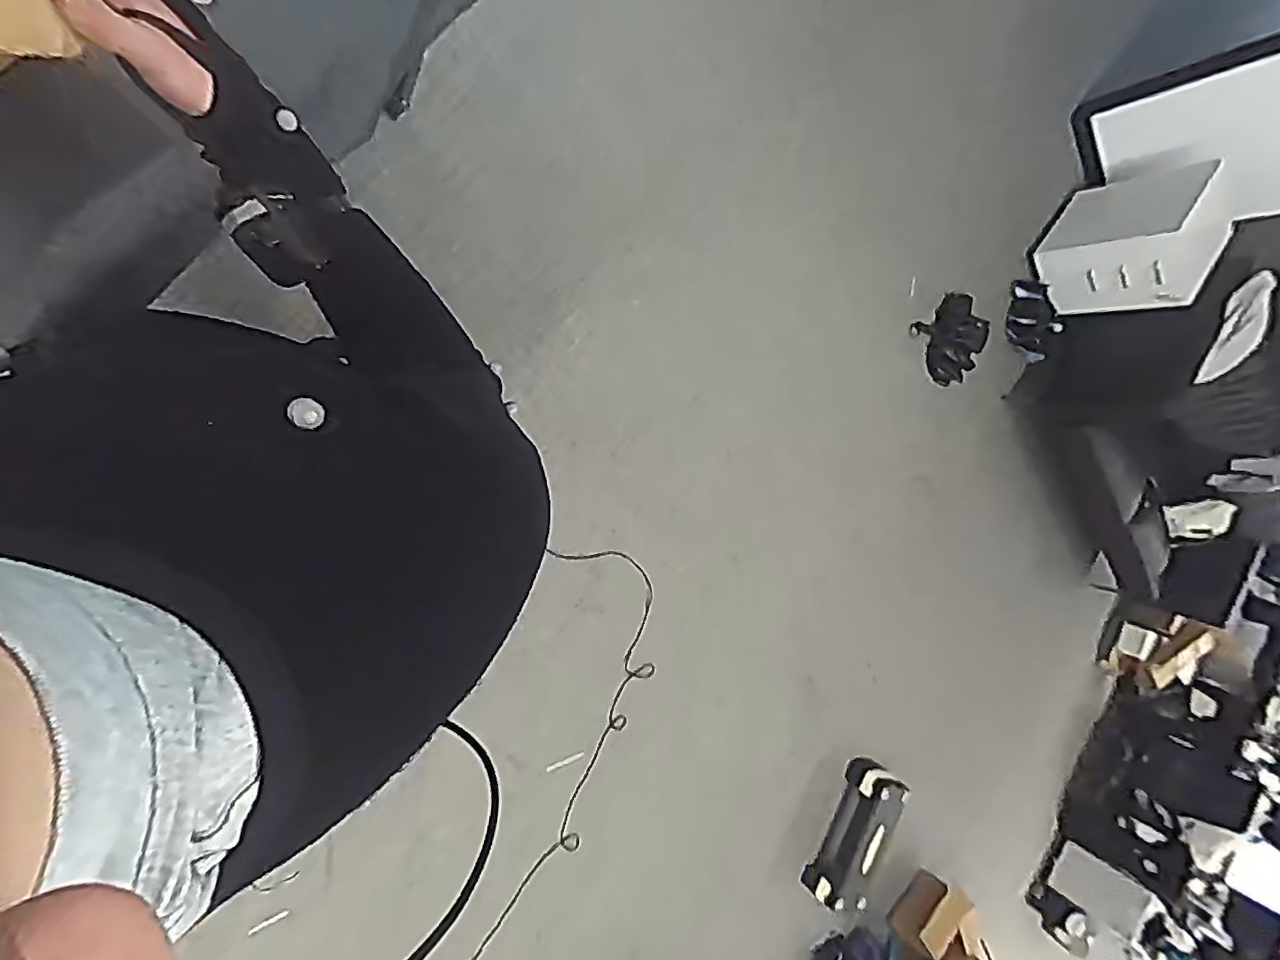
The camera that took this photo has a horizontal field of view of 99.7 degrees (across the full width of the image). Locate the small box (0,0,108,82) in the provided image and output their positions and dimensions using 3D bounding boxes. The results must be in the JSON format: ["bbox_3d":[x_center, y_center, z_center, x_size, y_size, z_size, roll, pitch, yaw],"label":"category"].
[{"bbox_3d":[-0.363,-0.281,0.215,0.168,0.176,0.179,-19,138,-25],"label":"small box"}]
